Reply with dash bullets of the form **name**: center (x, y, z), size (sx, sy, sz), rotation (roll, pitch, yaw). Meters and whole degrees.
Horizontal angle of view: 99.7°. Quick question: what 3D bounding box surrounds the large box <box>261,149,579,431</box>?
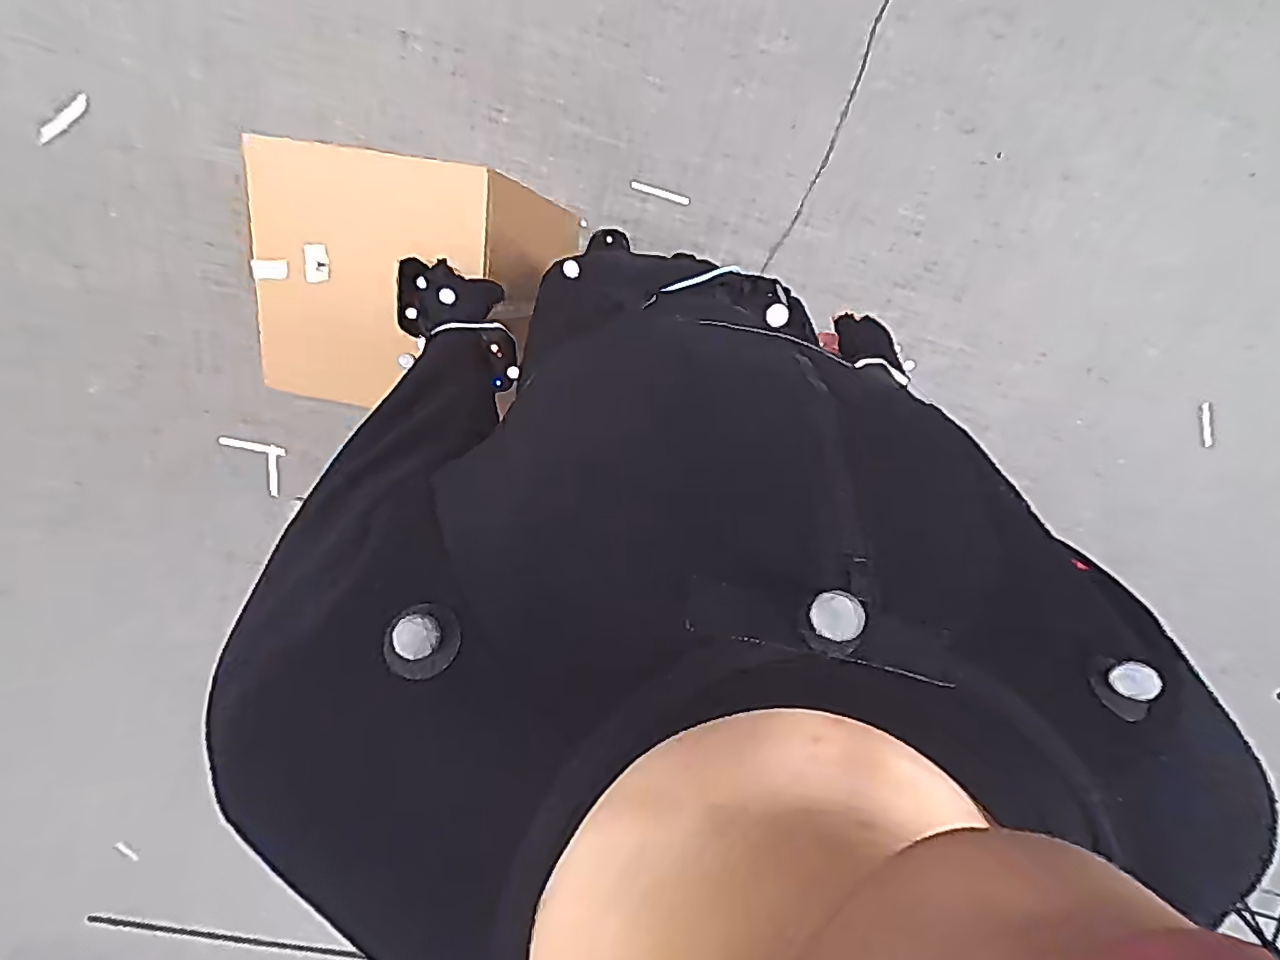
- **large box**: center (-0.312, -0.300, 0.875), size (0.320, 0.408, 0.320), rotation (13, 110, 4)
